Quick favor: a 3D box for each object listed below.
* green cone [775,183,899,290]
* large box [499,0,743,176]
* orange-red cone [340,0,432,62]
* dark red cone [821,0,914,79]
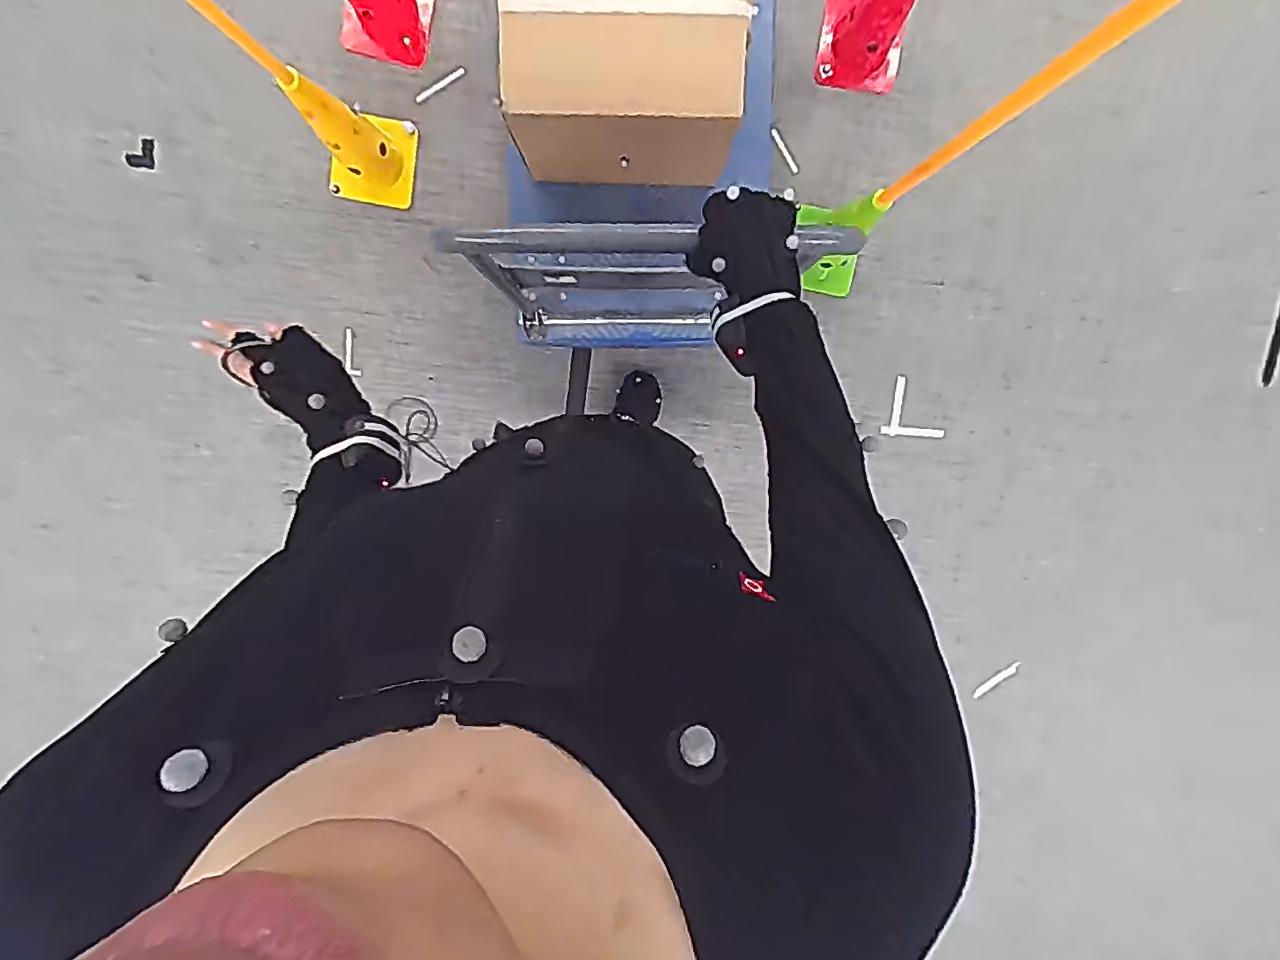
[{"bbox_3d":[0.465,-0.573,1.211,0.202,0.368,0.200,10,99,-4],"label":"green cone"},{"bbox_3d":[-0.029,-0.791,1.020,0.408,0.320,0.320,1,100,0],"label":"large box"},{"bbox_3d":[-0.589,-1.091,1.106,0.198,0.360,0.199,14,97,-4],"label":"orange-red cone"},{"bbox_3d":[0.544,-1.043,1.119,0.201,0.394,0.202,6,99,-4],"label":"dark red cone"}]
